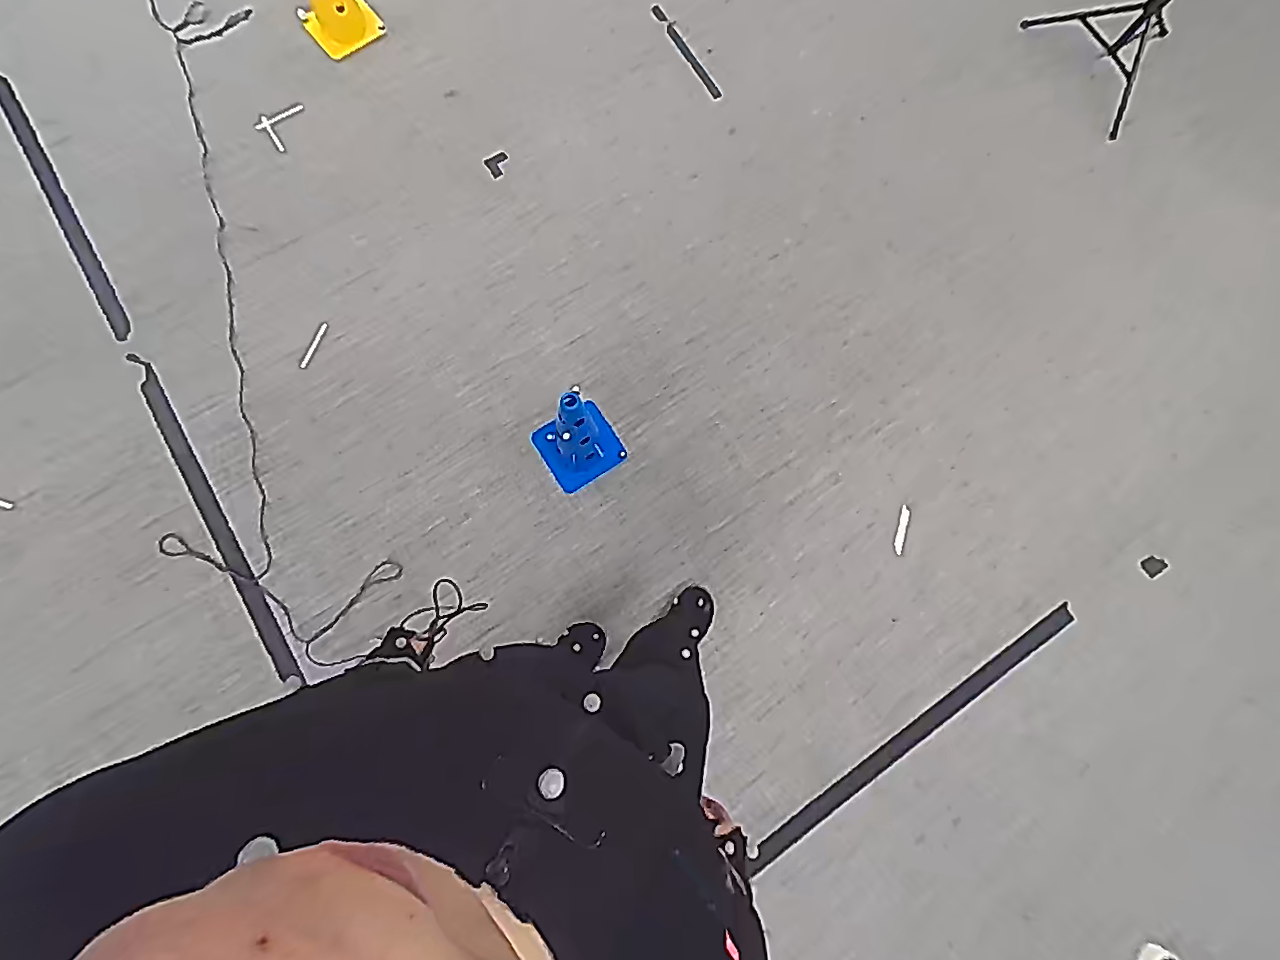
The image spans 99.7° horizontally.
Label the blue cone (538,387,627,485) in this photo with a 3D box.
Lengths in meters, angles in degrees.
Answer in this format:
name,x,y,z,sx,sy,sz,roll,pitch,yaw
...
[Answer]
name,x,y,z,sx,sy,sz,roll,pitch,yaw
blue cone,-0.145,-0.130,1.271,0.192,0.380,0.193,-31,82,-9
